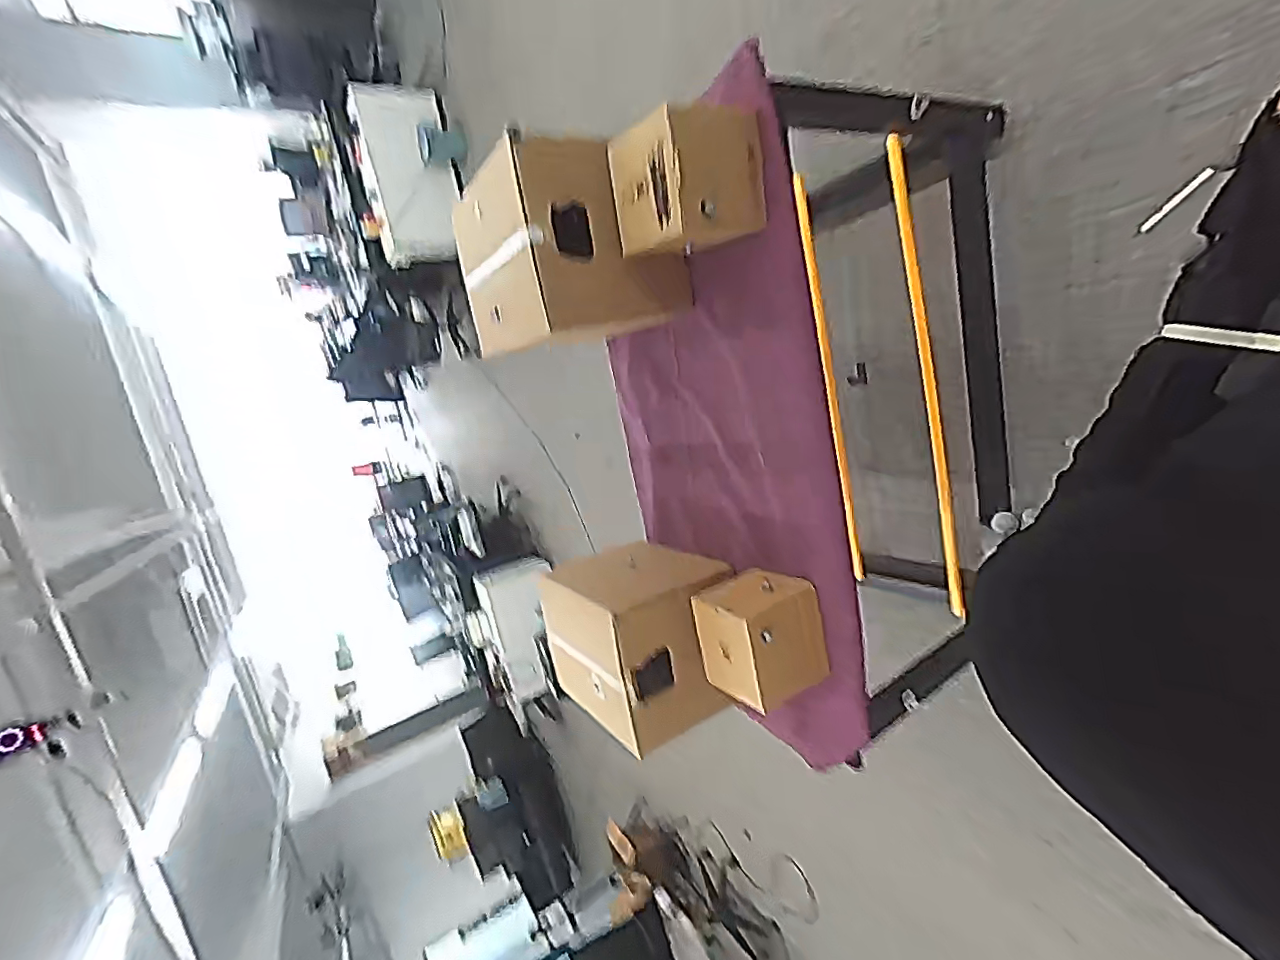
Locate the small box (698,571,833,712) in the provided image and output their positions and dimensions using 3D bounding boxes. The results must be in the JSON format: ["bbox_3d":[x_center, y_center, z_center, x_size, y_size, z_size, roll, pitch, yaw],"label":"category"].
[{"bbox_3d":[0.237,0.291,1.014,0.168,0.176,0.179,1,106,62],"label":"small box"}]

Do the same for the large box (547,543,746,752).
[{"bbox_3d":[0.022,0.353,1.281,0.408,0.320,0.320,2,106,58],"label":"large box"}]
